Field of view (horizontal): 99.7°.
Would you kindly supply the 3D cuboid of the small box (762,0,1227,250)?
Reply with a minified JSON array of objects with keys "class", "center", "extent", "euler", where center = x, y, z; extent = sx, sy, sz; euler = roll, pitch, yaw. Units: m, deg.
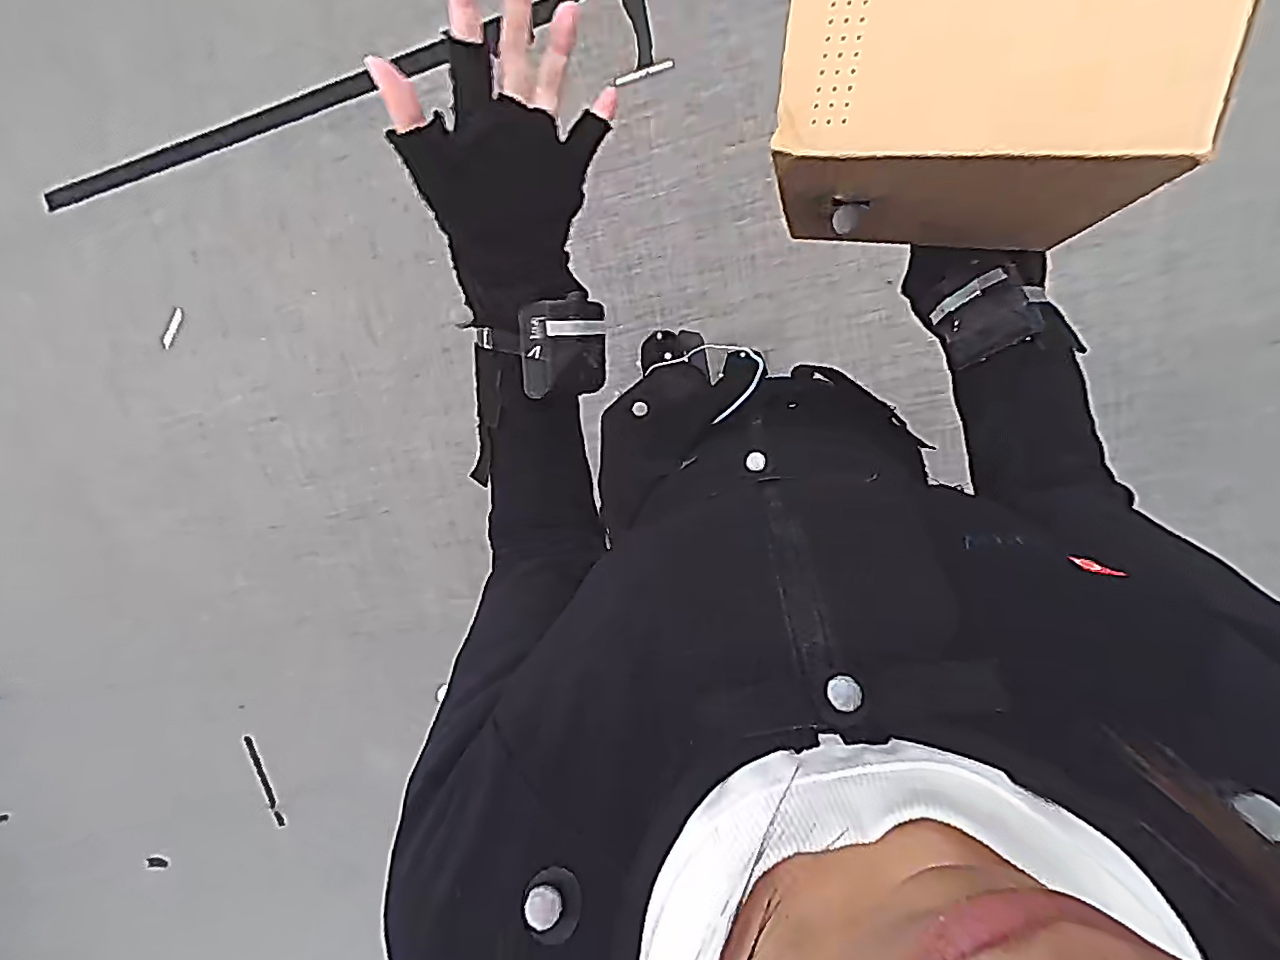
[{"class":"small box","center":[0.166,-0.237,0.292],"extent":[0.176,0.168,0.179],"euler":[11,103,18]}]
